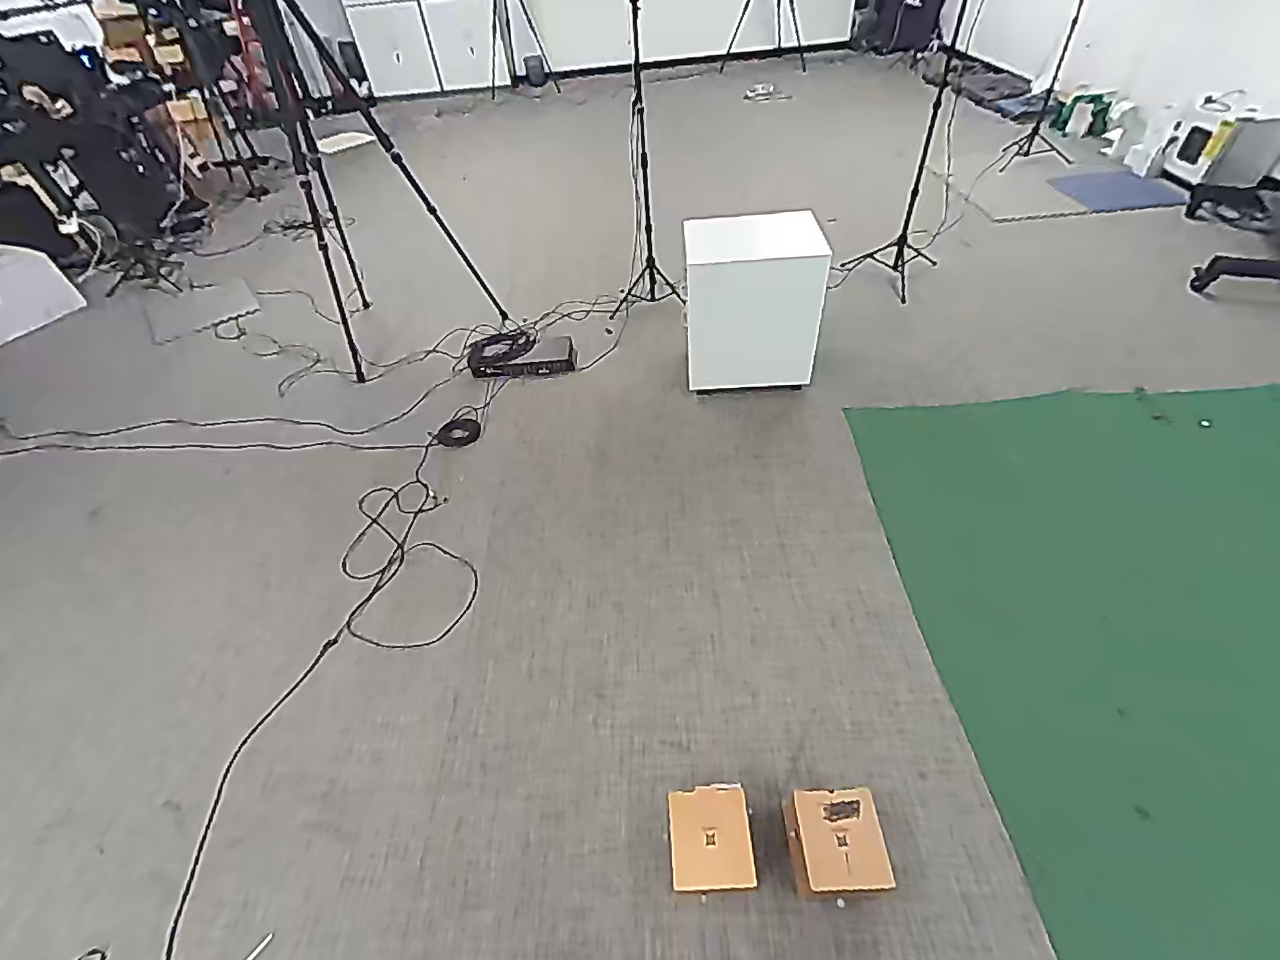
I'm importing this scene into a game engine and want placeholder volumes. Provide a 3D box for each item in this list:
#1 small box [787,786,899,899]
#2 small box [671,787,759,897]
[{"bbox_3d":[0.419,0.773,1.151,0.168,0.176,0.179,-3,48,2],"label":"small box"},{"bbox_3d":[0.156,0.785,1.167,0.168,0.176,0.179,-4,46,2],"label":"small box"}]
